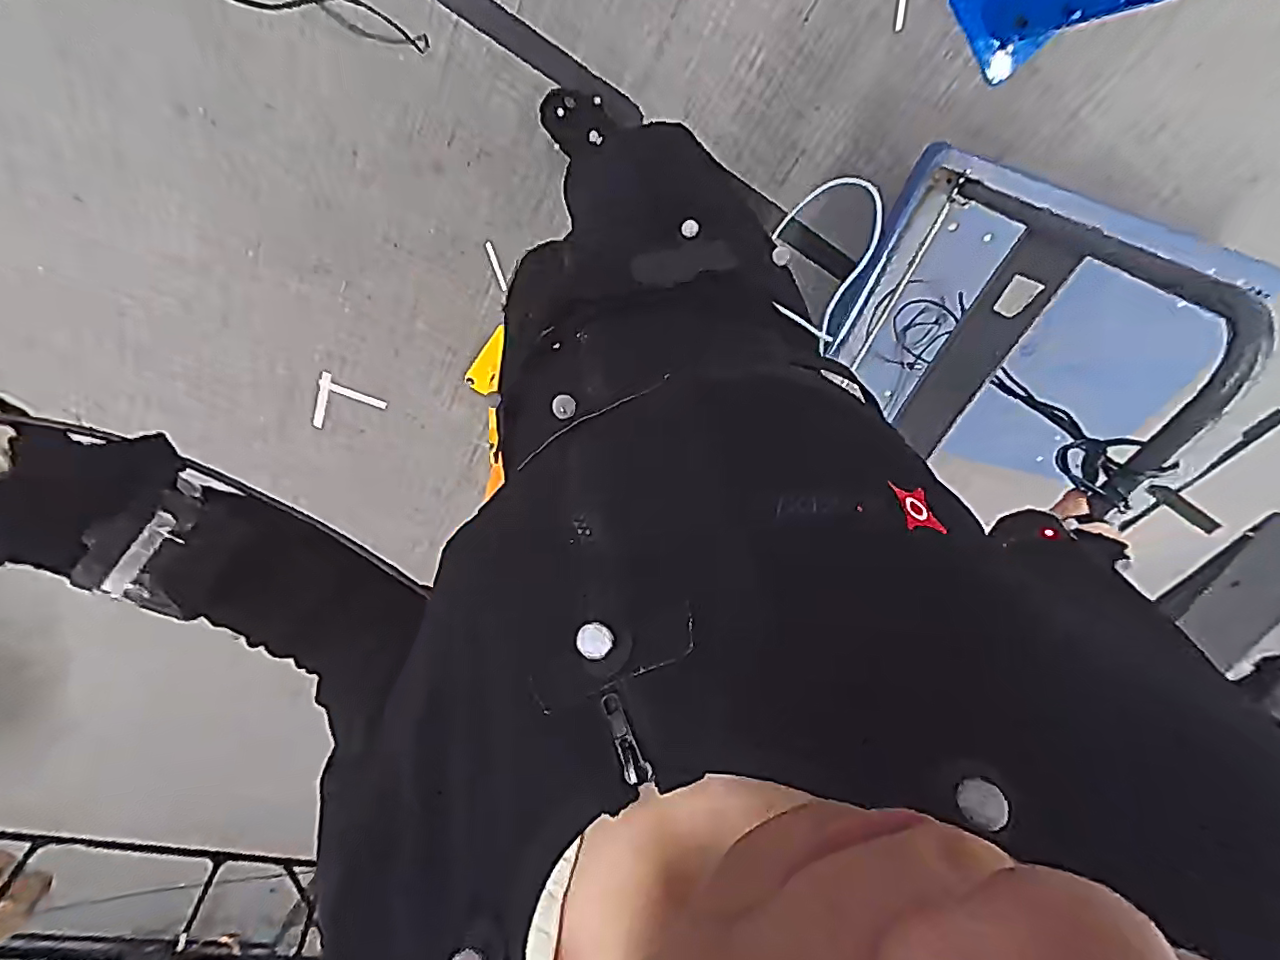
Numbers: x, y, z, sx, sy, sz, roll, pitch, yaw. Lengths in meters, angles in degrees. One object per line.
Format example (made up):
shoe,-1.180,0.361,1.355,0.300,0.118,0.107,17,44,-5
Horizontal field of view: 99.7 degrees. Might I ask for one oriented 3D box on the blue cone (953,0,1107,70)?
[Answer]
blue cone,0.669,-0.754,0.805,0.193,0.380,0.192,-39,121,24
